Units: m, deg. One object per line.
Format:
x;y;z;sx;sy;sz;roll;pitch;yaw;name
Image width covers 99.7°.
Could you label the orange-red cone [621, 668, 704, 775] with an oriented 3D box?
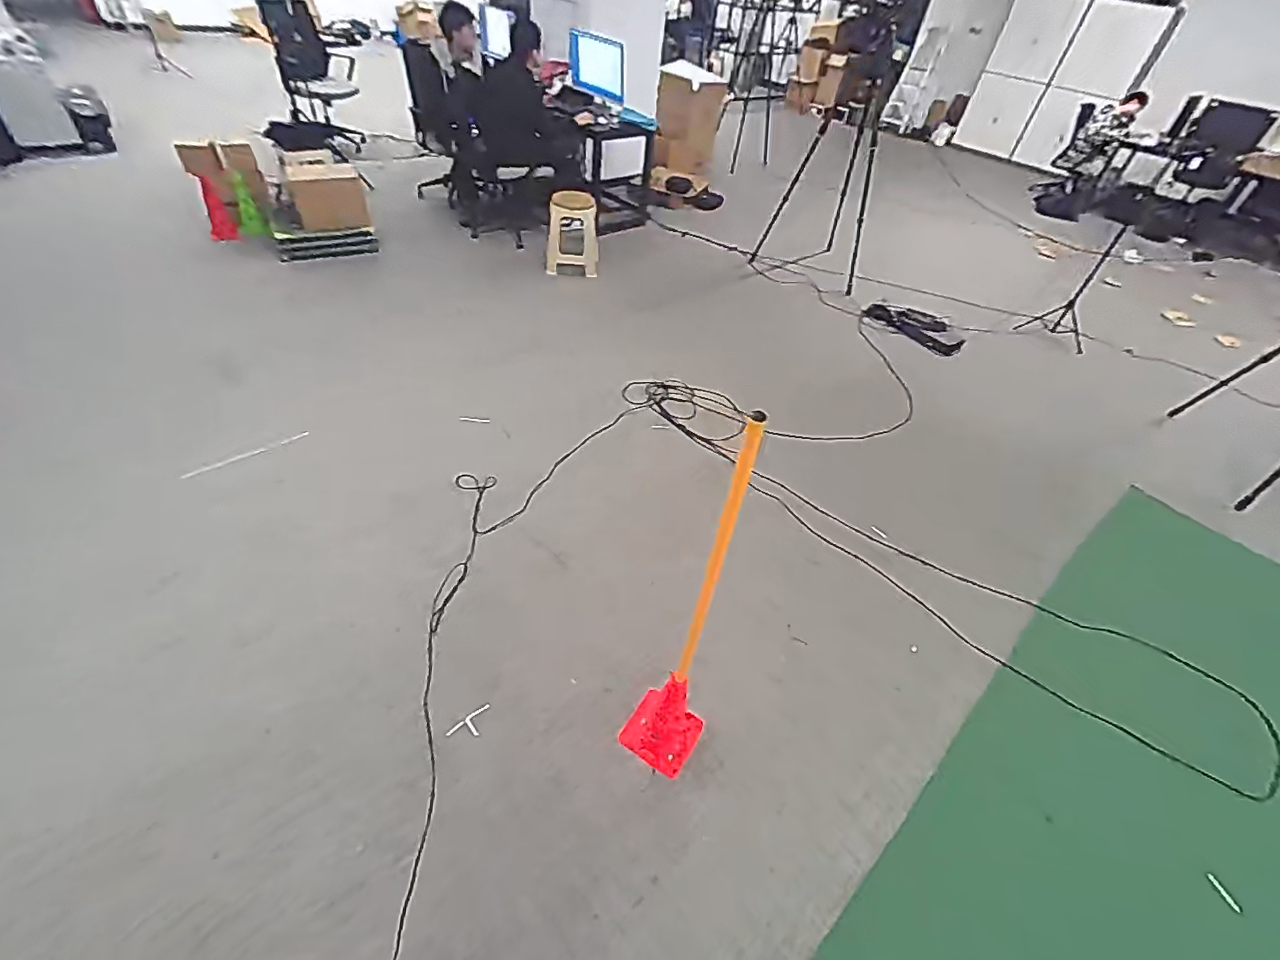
0.087;0.616;1.484;0.198;0.360;0.199;29;47;19;orange-red cone
